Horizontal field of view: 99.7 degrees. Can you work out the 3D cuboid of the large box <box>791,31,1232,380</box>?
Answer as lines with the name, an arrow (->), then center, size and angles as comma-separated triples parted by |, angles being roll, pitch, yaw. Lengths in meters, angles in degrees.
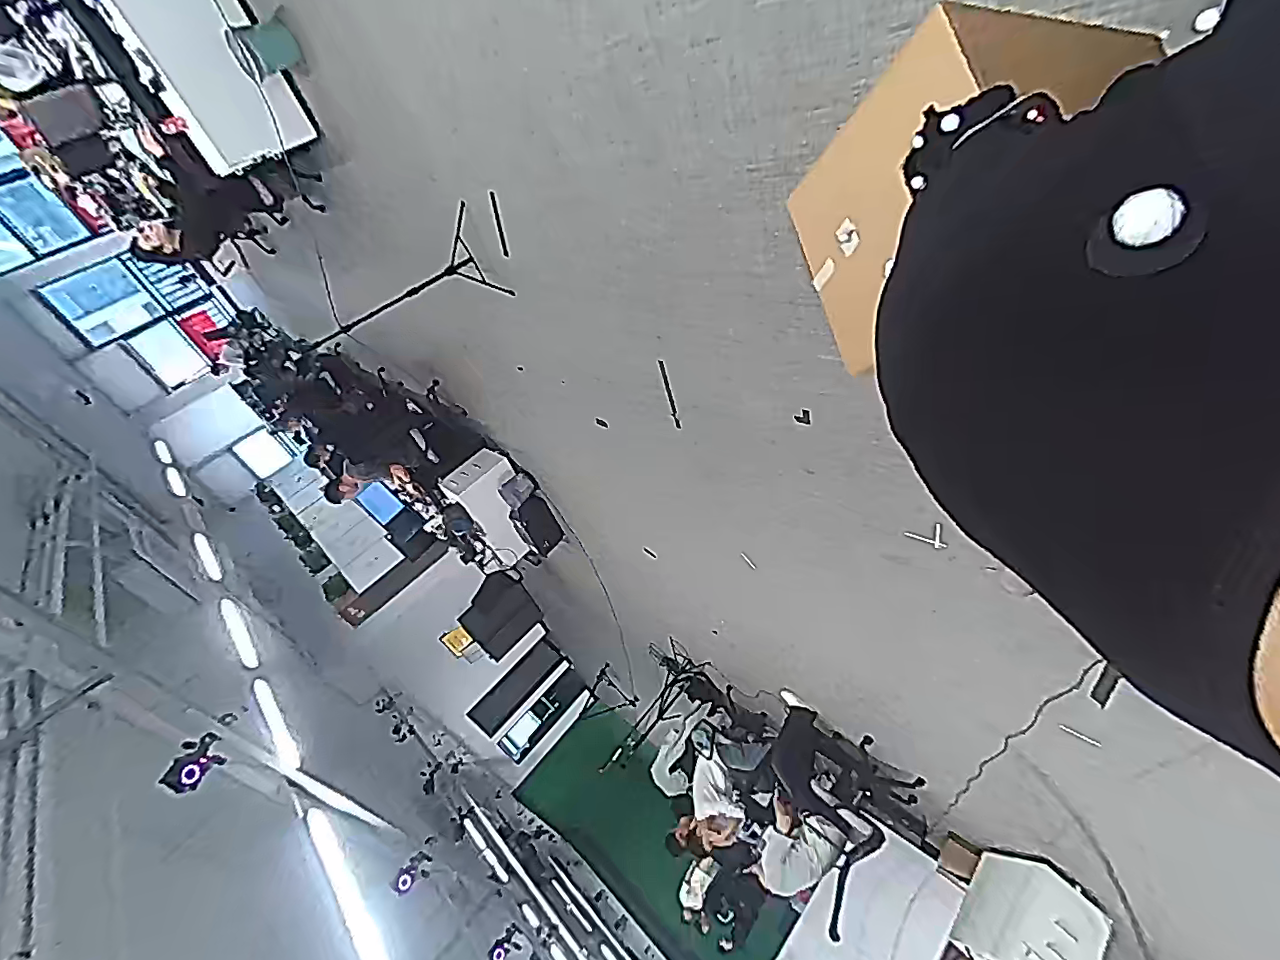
large box -> 0.507, -0.369, 0.797 | 0.320, 0.408, 0.320 | 142, 115, -67
